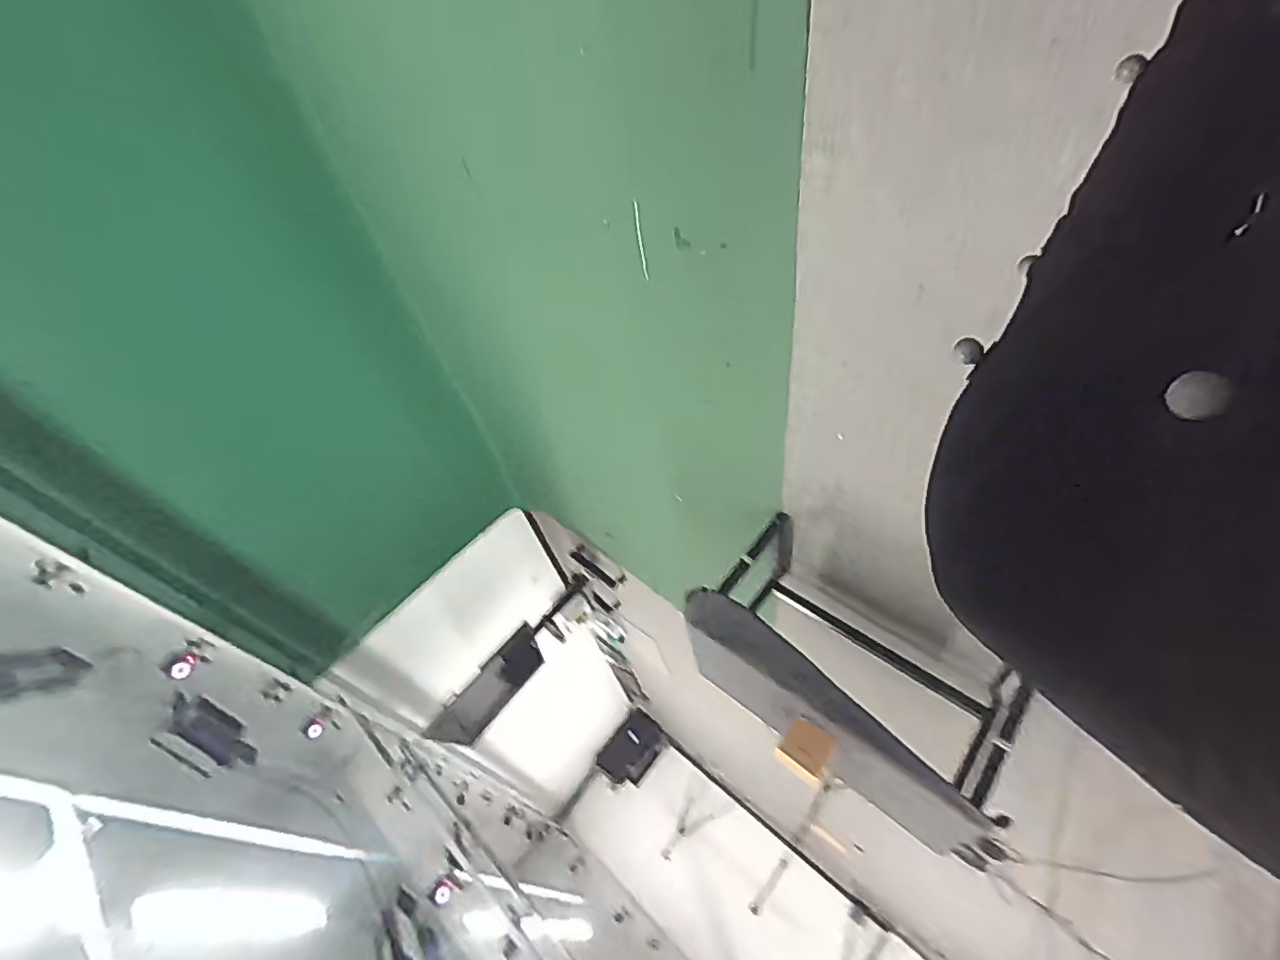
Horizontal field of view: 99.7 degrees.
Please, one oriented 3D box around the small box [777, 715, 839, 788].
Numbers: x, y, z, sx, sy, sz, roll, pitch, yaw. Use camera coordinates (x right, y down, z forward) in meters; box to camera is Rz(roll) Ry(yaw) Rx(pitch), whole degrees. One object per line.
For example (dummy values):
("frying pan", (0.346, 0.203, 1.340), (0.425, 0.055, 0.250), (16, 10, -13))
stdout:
("small box", (0.658, 1.065, 2.124), (0.179, 0.176, 0.168), (30, 152, 33))
